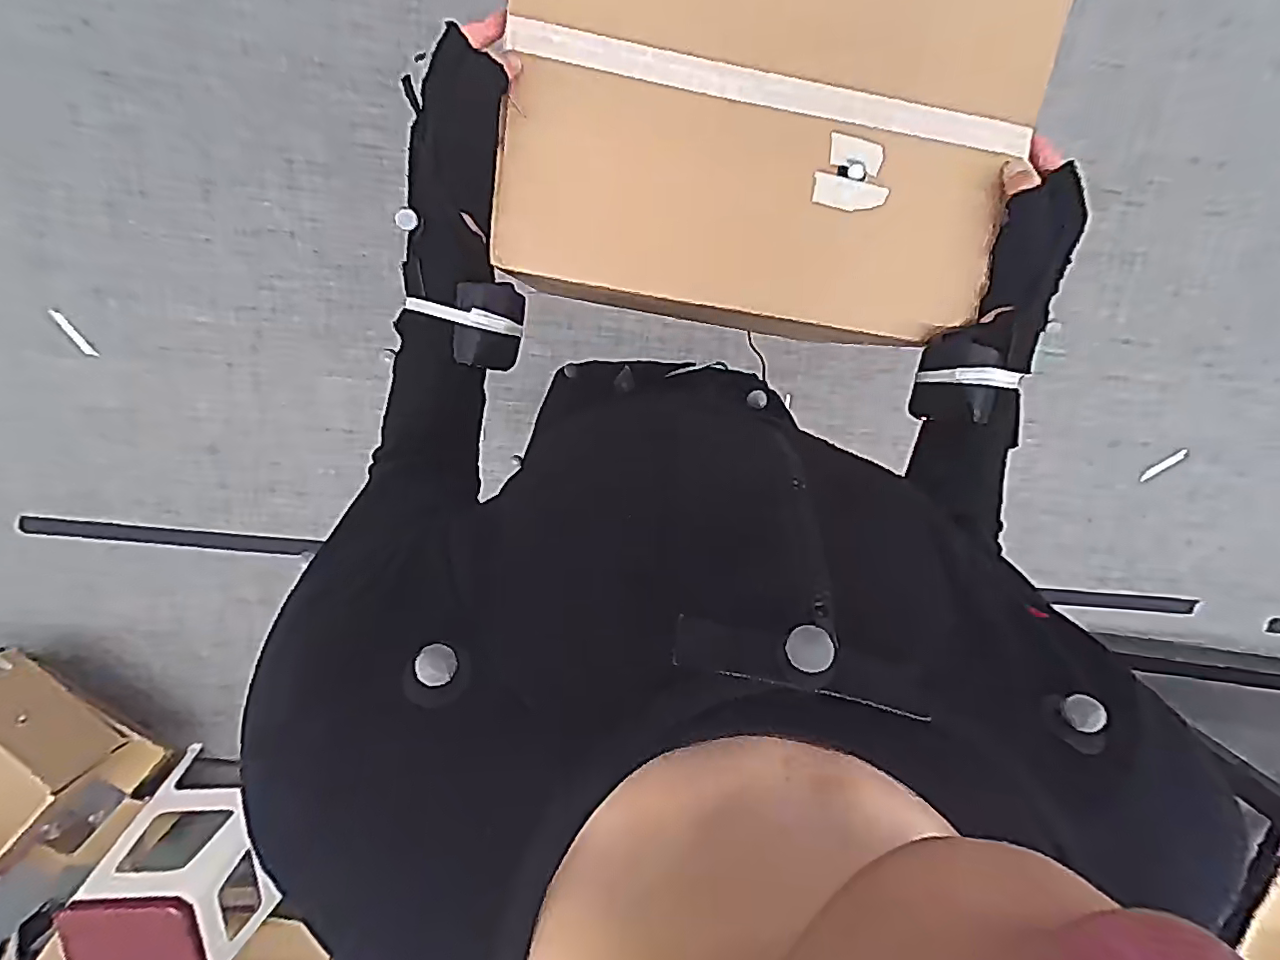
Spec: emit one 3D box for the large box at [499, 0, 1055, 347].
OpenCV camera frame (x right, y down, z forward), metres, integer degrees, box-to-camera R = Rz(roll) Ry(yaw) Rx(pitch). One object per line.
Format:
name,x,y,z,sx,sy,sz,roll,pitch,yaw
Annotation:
large box,0.090,-0.326,0.559,0.408,0.320,0.320,8,106,-7
